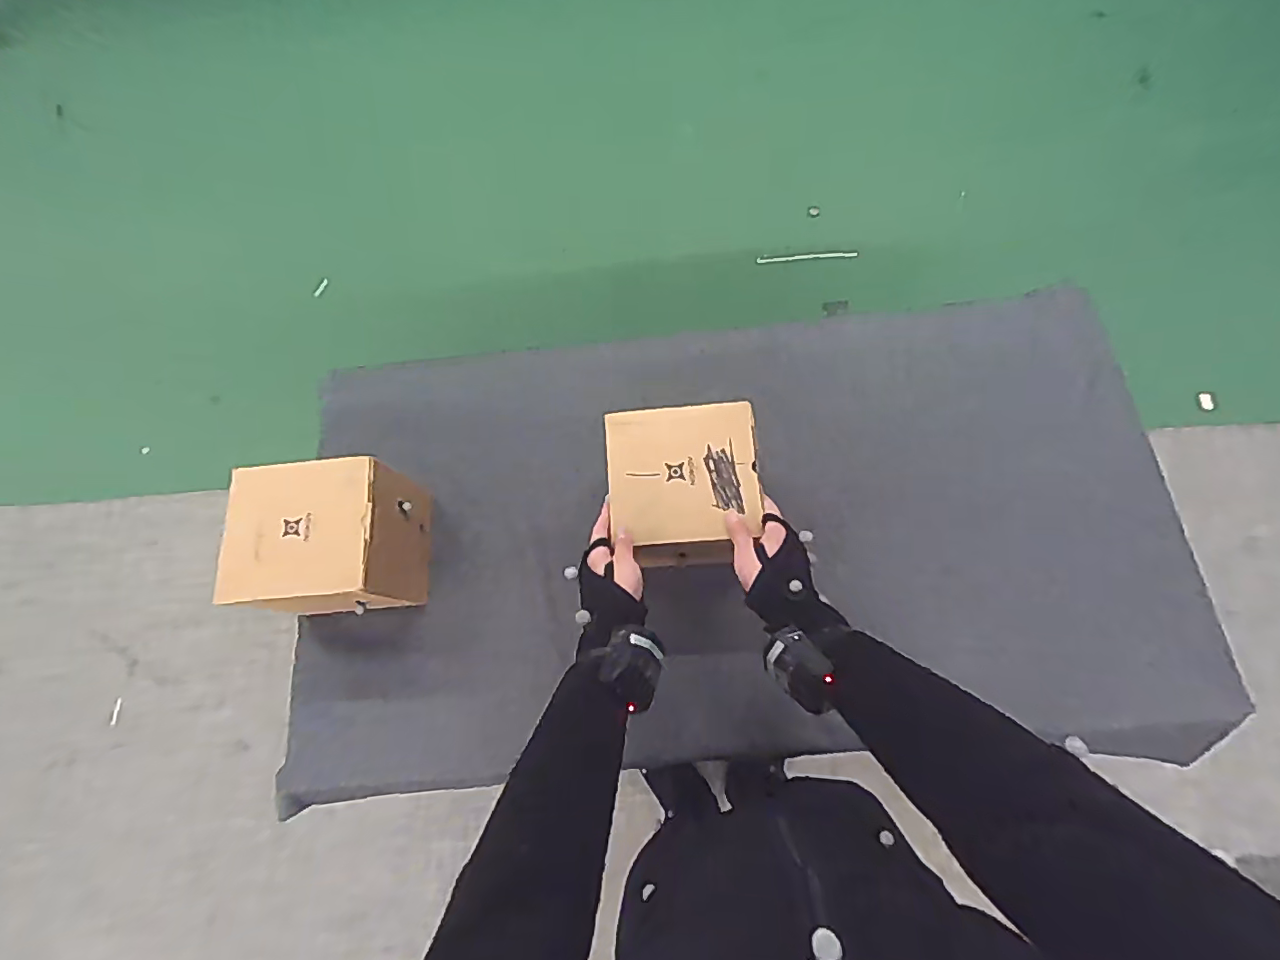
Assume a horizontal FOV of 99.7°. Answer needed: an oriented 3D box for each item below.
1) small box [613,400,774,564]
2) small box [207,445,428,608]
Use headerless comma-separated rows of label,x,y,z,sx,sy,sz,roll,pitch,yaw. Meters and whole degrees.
small box,0.060,0.011,0.686,0.179,0.176,0.168,-3,71,2
small box,-0.389,0.067,0.689,0.179,0.176,0.168,-5,71,2
